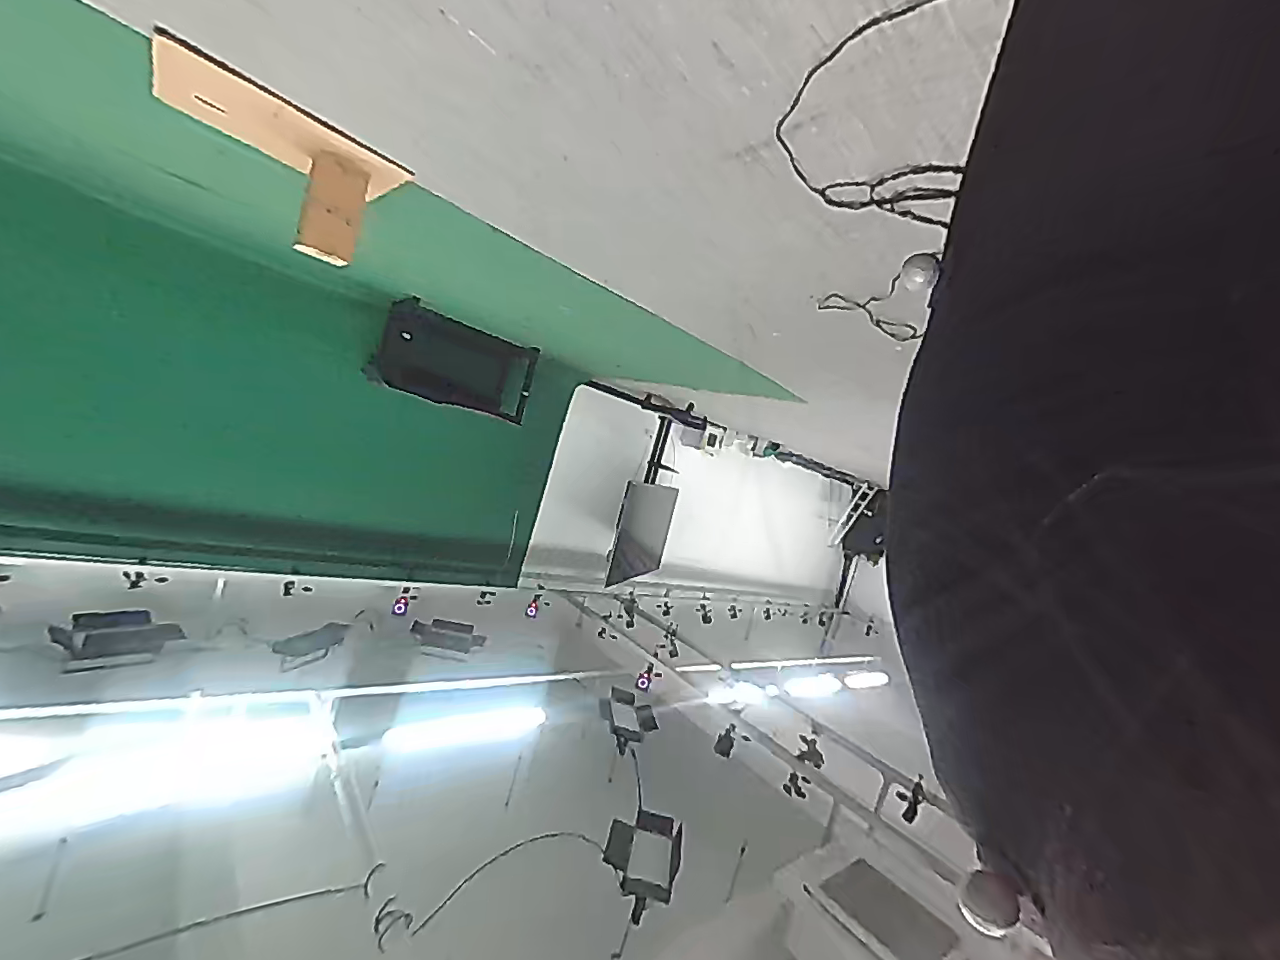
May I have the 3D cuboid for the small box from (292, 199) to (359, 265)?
[{"bbox_3d":[-1.165,-0.921,2.005,0.168,0.176,0.179,13,-175,-44],"label":"small box"}]

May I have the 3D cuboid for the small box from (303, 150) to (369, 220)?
[{"bbox_3d":[-1.120,-1.078,1.996,0.168,0.176,0.179,13,-176,-42],"label":"small box"}]
